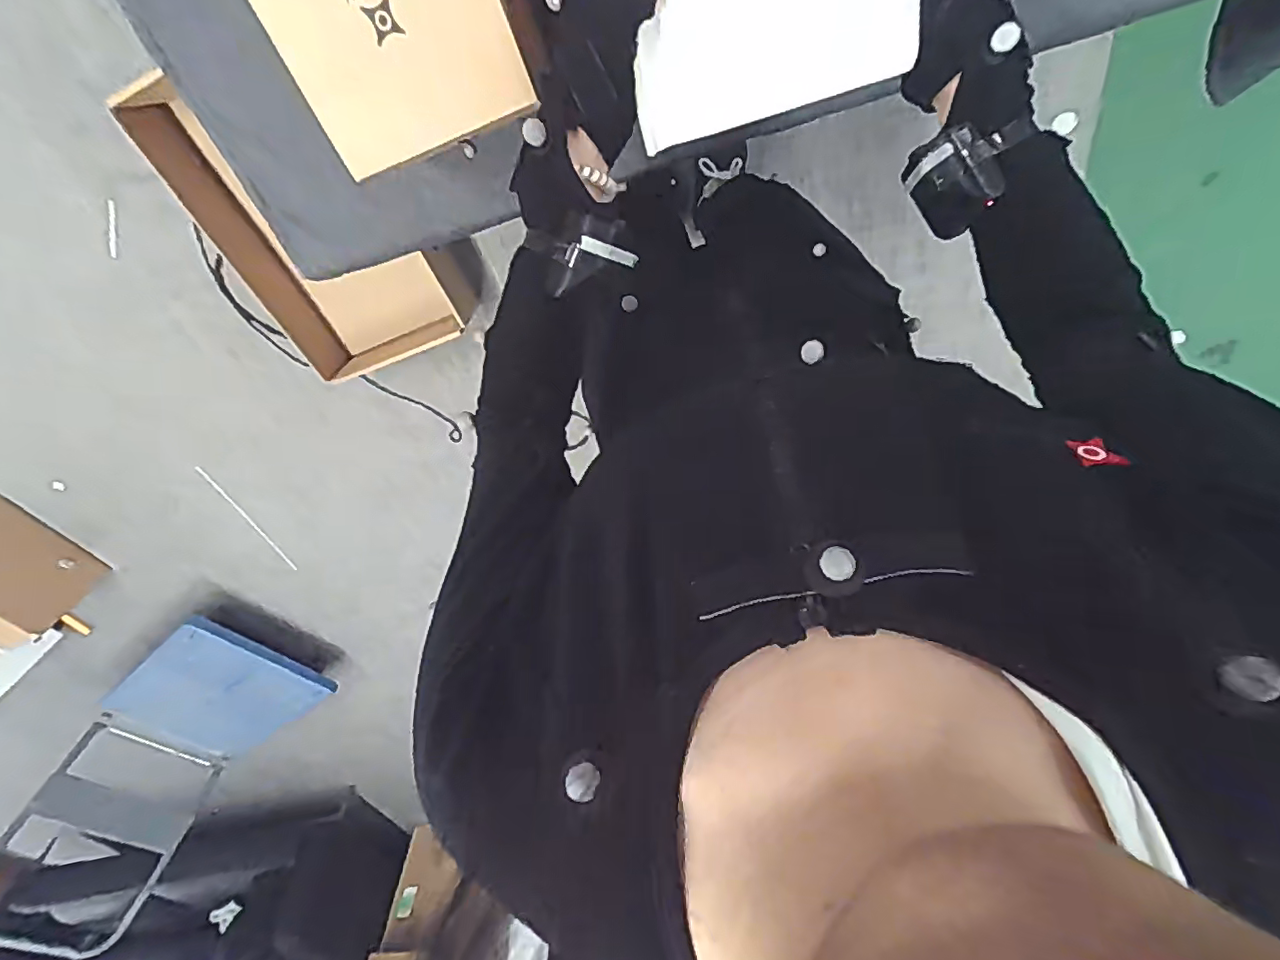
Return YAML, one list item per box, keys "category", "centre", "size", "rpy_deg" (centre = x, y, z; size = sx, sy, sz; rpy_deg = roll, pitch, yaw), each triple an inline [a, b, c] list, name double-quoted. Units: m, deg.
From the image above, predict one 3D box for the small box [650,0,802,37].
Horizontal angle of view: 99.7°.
- category: "small box"
  centre: [0.076, -0.451, 0.386]
  size: [0.168, 0.176, 0.179]
  rpy_deg: [-10, 126, 8]
